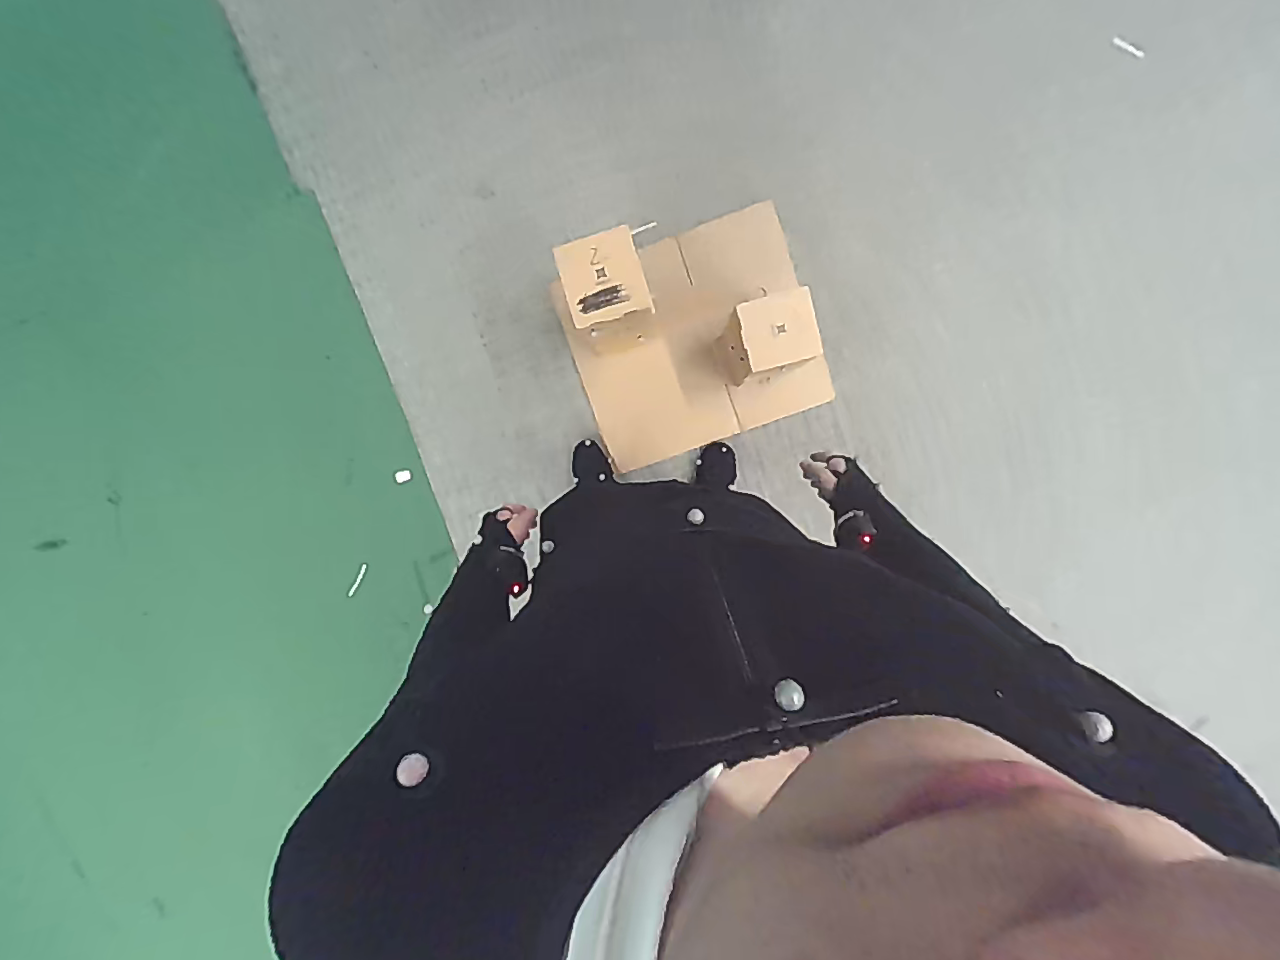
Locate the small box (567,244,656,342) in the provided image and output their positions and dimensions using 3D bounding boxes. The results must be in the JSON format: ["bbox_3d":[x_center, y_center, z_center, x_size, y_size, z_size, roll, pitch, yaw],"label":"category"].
[{"bbox_3d":[-0.065,-0.458,1.350,0.179,0.176,0.168,-18,94,5],"label":"small box"}]

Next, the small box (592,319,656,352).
[{"bbox_3d":[-0.062,-0.471,1.512,0.179,0.176,0.168,-18,94,5],"label":"small box"}]

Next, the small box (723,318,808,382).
[{"bbox_3d":[0.342,-0.378,1.500,0.179,0.176,0.168,-16,94,5],"label":"small box"}]

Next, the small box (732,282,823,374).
[{"bbox_3d":[0.330,-0.366,1.337,0.179,0.176,0.168,-14,95,5],"label":"small box"}]
